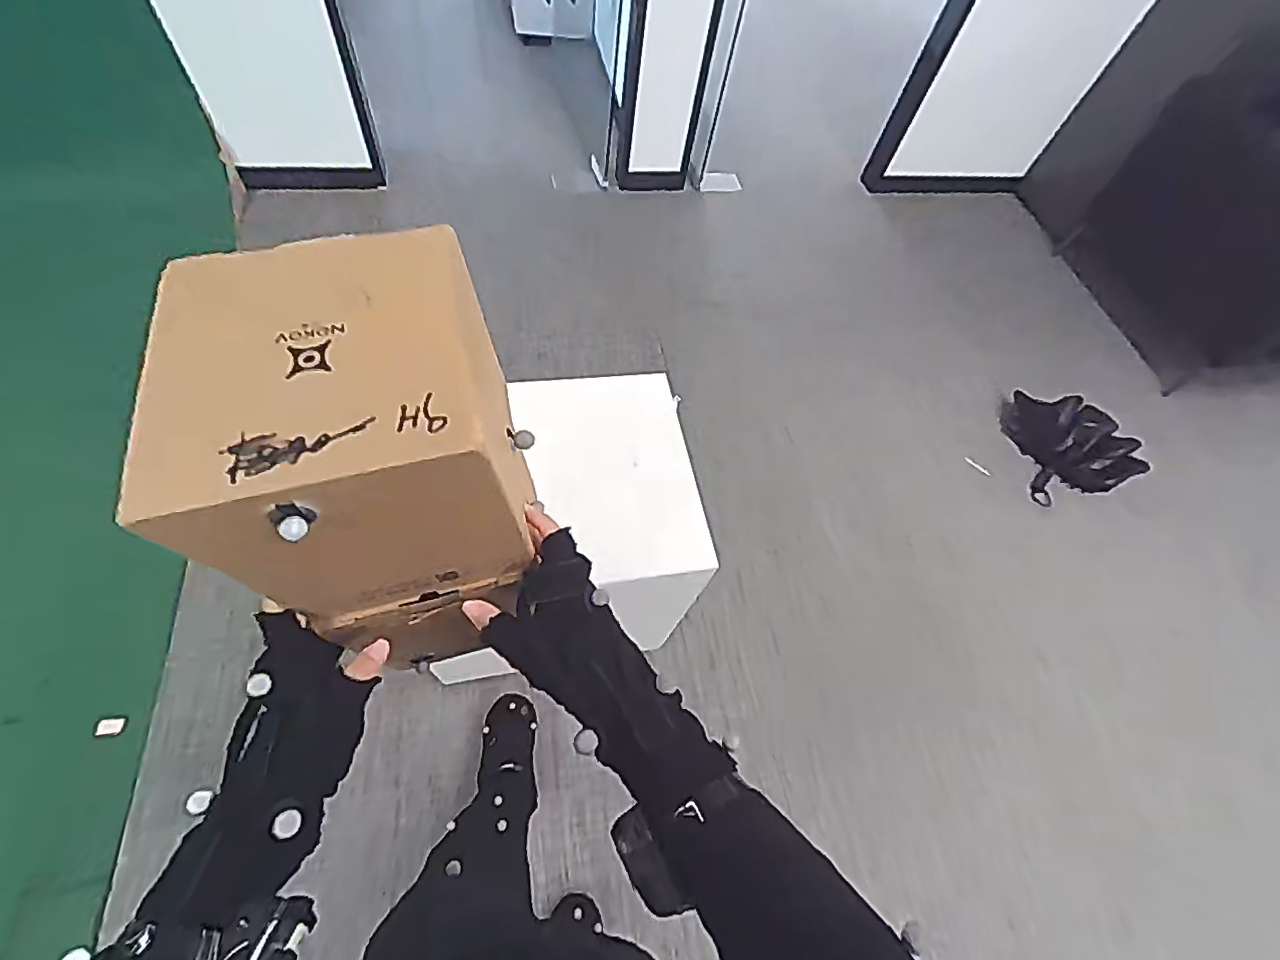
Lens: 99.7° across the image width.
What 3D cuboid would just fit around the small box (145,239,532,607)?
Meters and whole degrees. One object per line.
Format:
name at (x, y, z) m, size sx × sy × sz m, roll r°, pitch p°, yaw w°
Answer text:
small box at (-0.179, -0.033, 0.379) m, size 0.168 × 0.176 × 0.179 m, roll -13°, pitch 61°, yaw -7°

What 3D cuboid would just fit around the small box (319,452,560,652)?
small box at (-0.180, 0.053, 0.518) m, size 0.168 × 0.176 × 0.179 m, roll -14°, pitch 61°, yaw -8°
